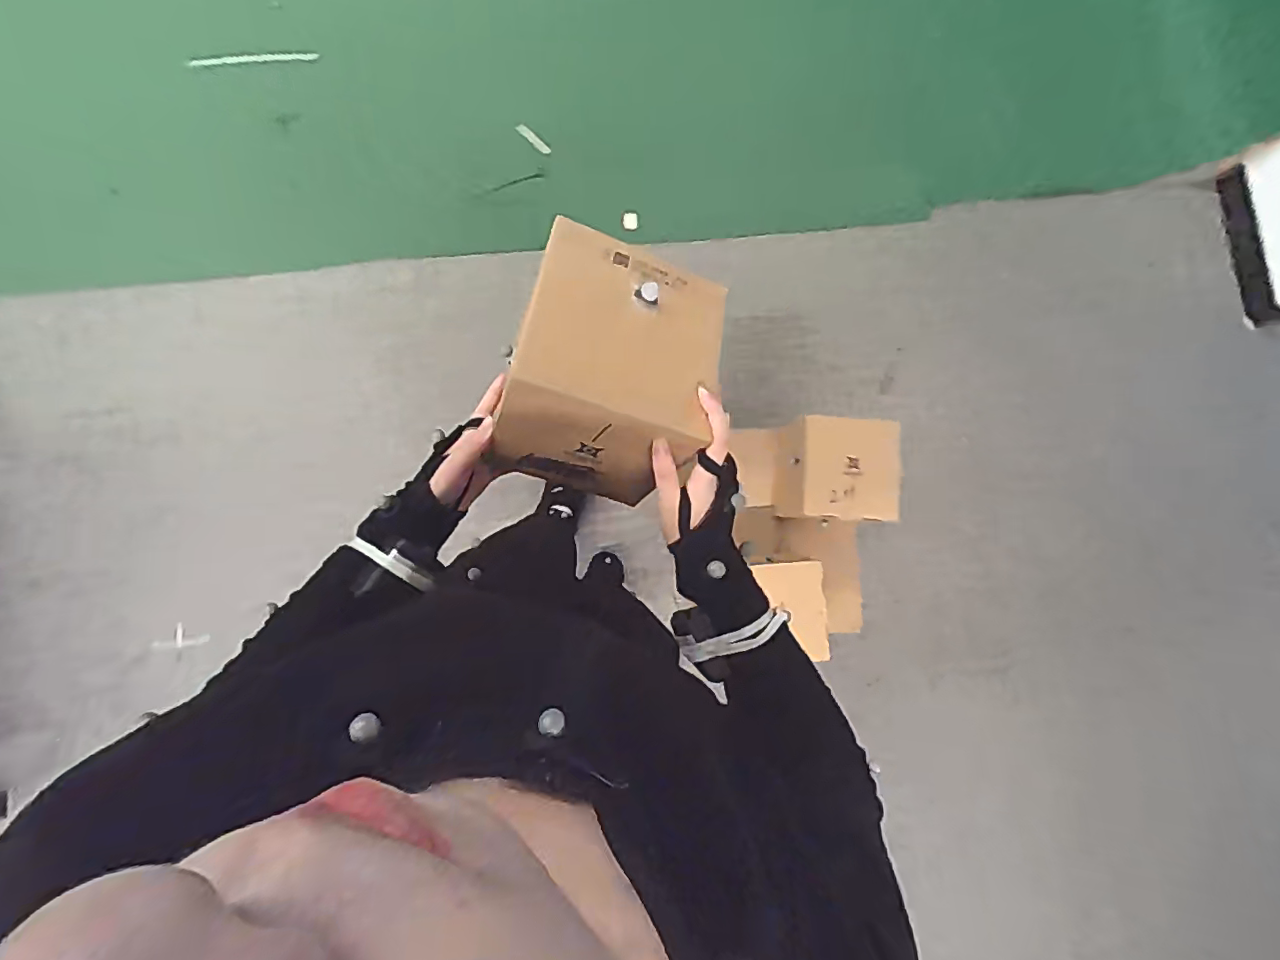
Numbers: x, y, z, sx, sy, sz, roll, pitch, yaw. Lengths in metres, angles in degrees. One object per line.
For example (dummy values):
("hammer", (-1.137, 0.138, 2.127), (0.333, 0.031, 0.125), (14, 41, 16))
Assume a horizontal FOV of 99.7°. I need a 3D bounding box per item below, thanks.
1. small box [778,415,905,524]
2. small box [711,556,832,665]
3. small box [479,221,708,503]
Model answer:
("small box", (0.361, -0.013, 0.994), (0.168, 0.176, 0.179), (5, 86, -2))
("small box", (0.224, 0.226, 0.970), (0.179, 0.176, 0.168), (-3, 86, -2))
("small box", (-0.043, -0.099, 0.517), (0.168, 0.179, 0.176), (15, 63, -17))
